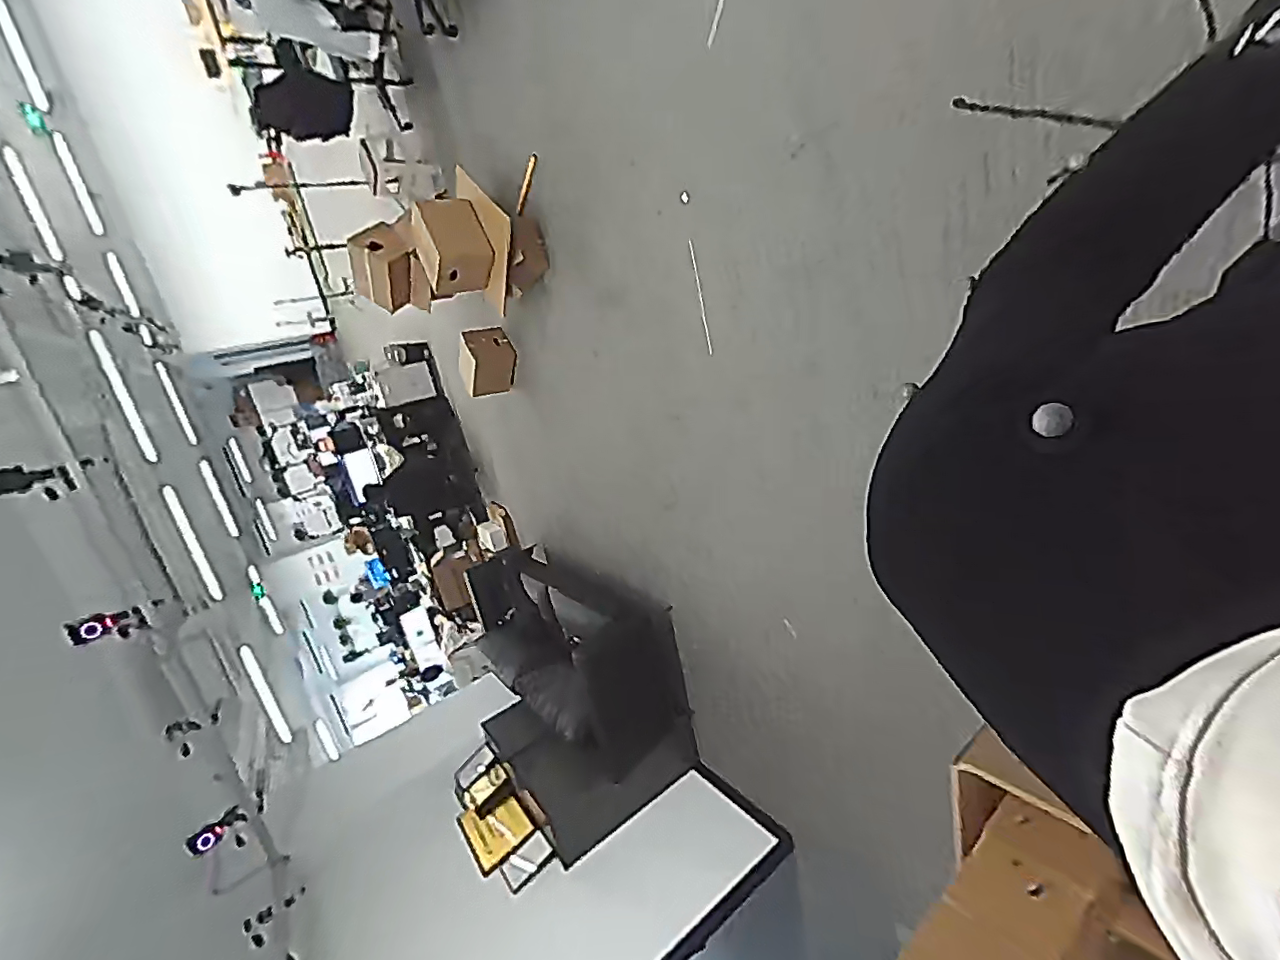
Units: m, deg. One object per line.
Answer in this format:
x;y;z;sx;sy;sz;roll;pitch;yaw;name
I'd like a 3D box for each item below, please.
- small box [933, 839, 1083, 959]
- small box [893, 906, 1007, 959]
0.637;0.786;0.937;0.168;0.176;0.179;14;121;54;small box
0.506;0.841;0.853;0.179;0.176;0.168;14;121;54;small box
